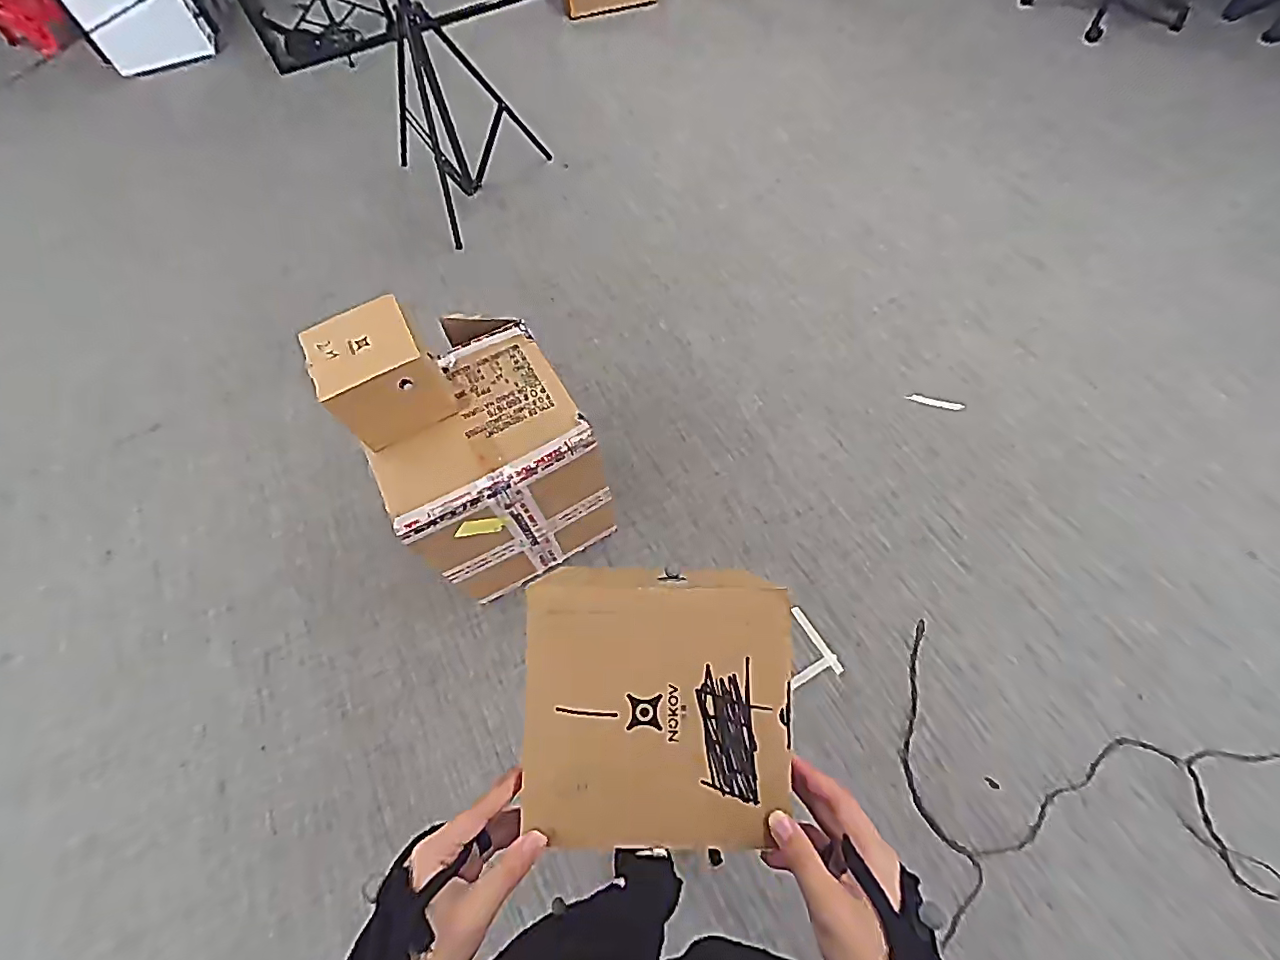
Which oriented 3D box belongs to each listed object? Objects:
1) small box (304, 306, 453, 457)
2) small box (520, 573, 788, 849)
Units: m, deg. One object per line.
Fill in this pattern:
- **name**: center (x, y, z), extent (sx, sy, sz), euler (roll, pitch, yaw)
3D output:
- **small box**: center (-0.460, -0.172, 0.979), extent (0.179, 0.176, 0.168), euler (-28, 65, -8)
- **small box**: center (0.009, 0.163, 0.436), extent (0.179, 0.176, 0.168), euler (0, 84, 0)
